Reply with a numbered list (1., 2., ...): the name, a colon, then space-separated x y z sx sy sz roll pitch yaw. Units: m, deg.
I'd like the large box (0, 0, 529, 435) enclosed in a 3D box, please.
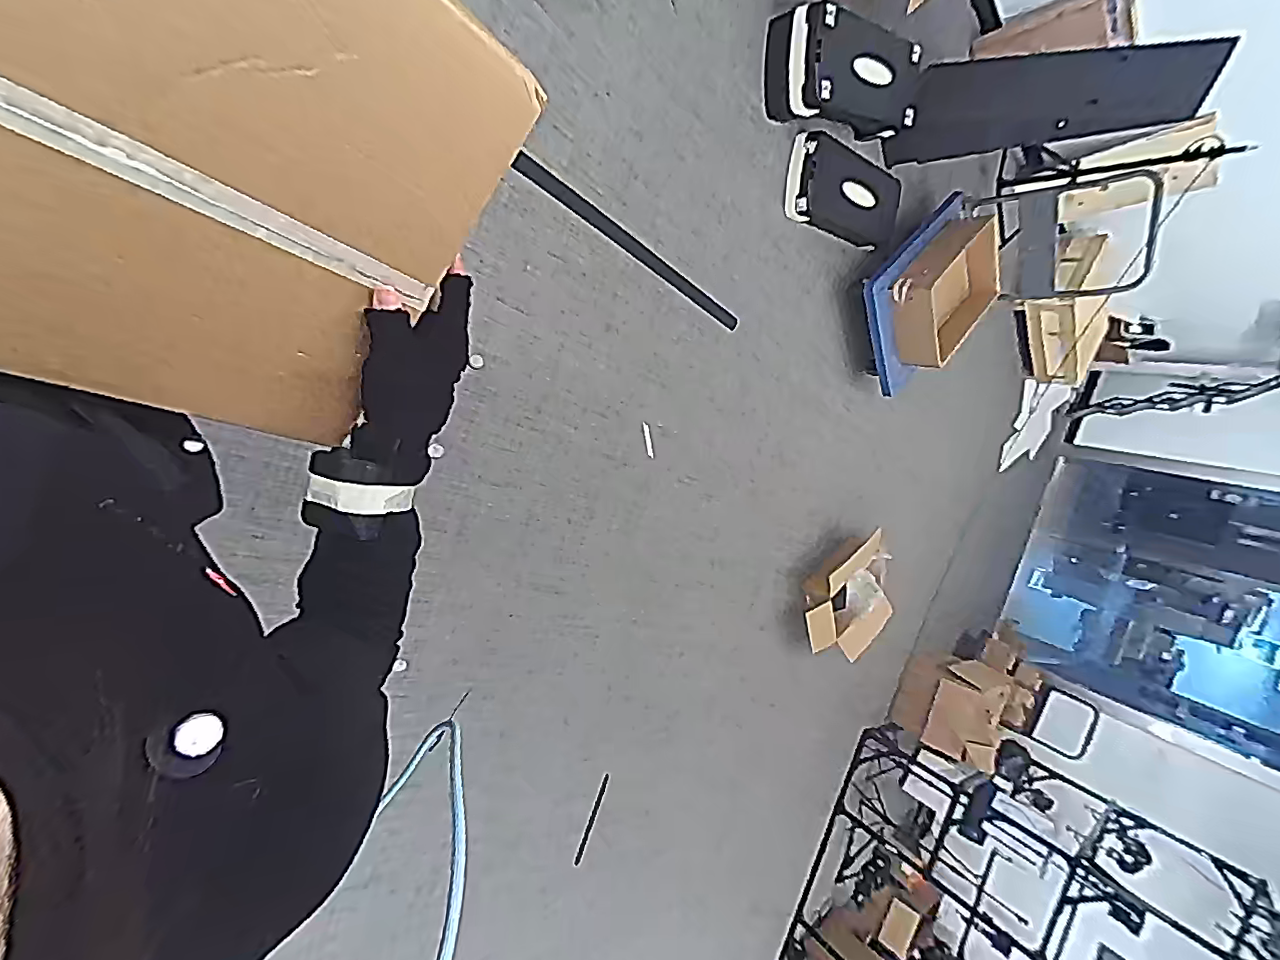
1. large box: -0.354 -0.281 0.335 0.408 0.320 0.320 16 126 -46
